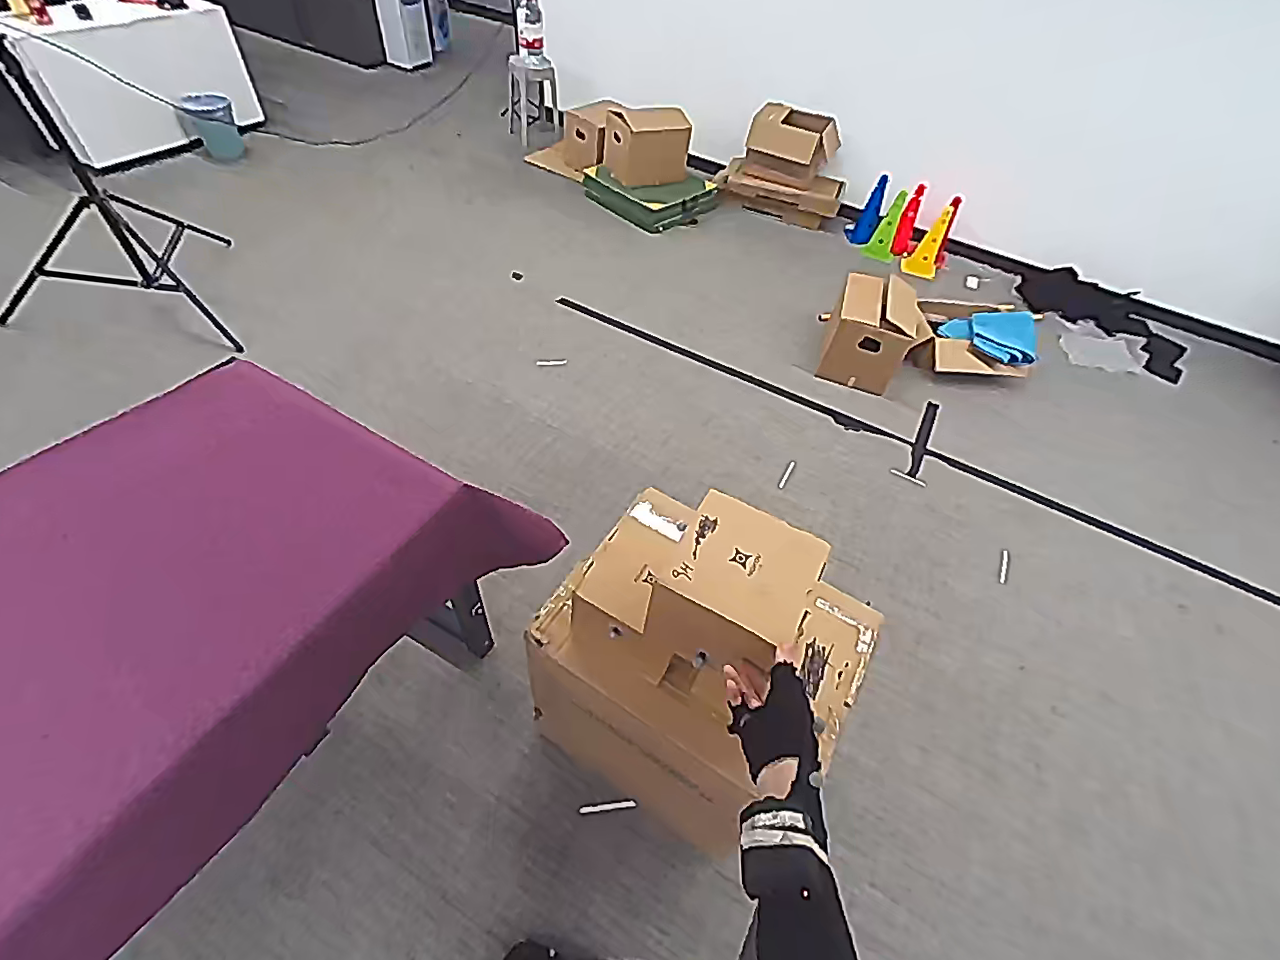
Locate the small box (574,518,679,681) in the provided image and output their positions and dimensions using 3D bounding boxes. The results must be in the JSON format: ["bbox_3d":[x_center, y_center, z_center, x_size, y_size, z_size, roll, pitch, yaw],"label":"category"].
[{"bbox_3d":[0.006,0.200,0.886,0.179,0.176,0.168,28,54,13],"label":"small box"}]

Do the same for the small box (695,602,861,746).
[{"bbox_3d":[0.206,0.285,0.841,0.179,0.176,0.168,28,53,18],"label":"small box"}]

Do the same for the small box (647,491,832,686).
[{"bbox_3d":[0.125,0.152,0.729,0.179,0.176,0.168,26,53,14],"label":"small box"}]
